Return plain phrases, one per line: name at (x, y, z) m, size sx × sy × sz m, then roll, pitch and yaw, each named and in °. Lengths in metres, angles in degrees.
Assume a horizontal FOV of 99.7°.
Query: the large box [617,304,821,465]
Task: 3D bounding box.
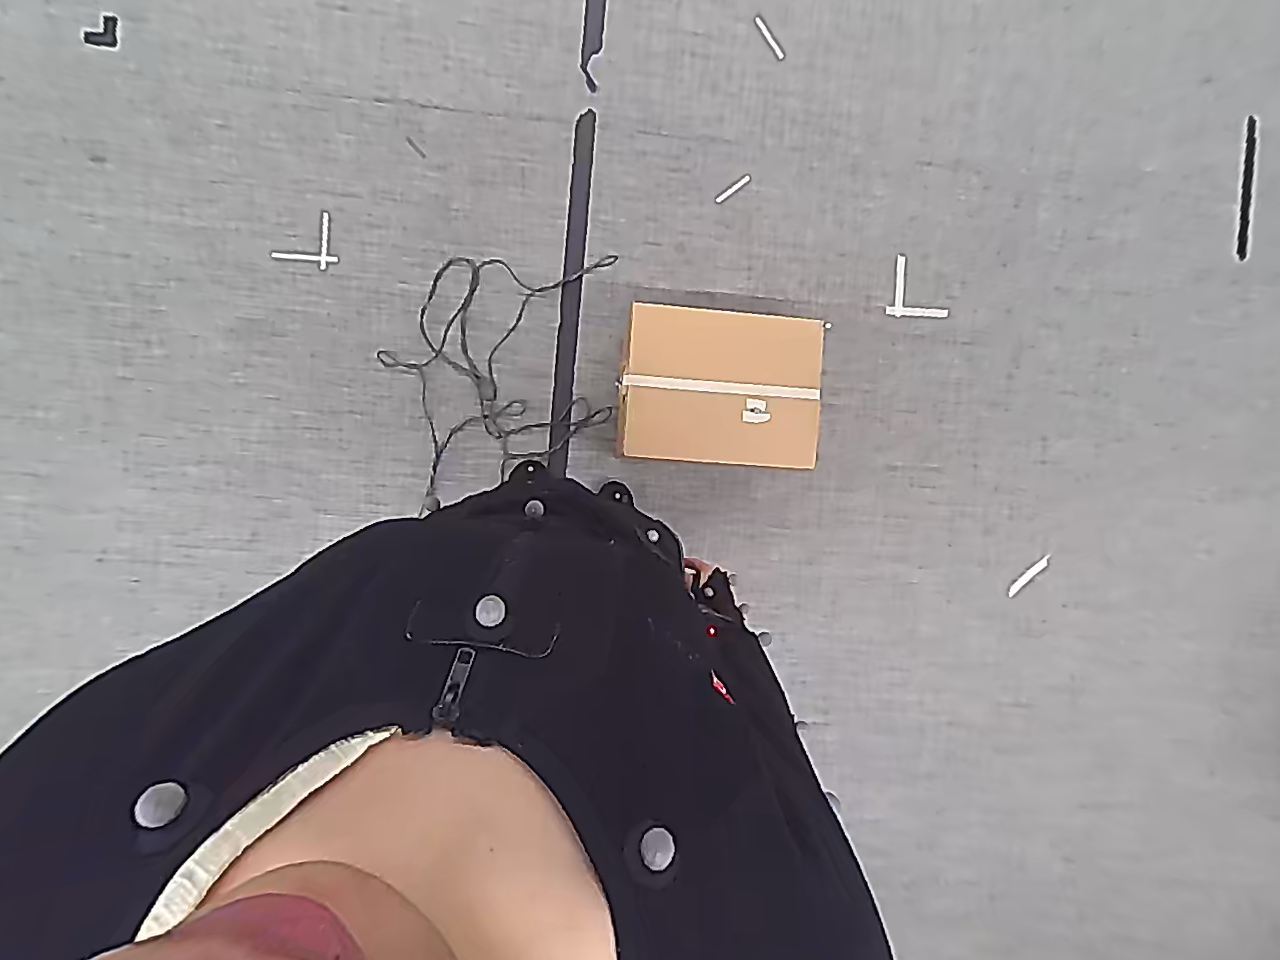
large box at (0.159, -0.198, 1.259) m, size 0.408 × 0.320 × 0.320 m, roll 3°, pitch 92°, yaw -6°
